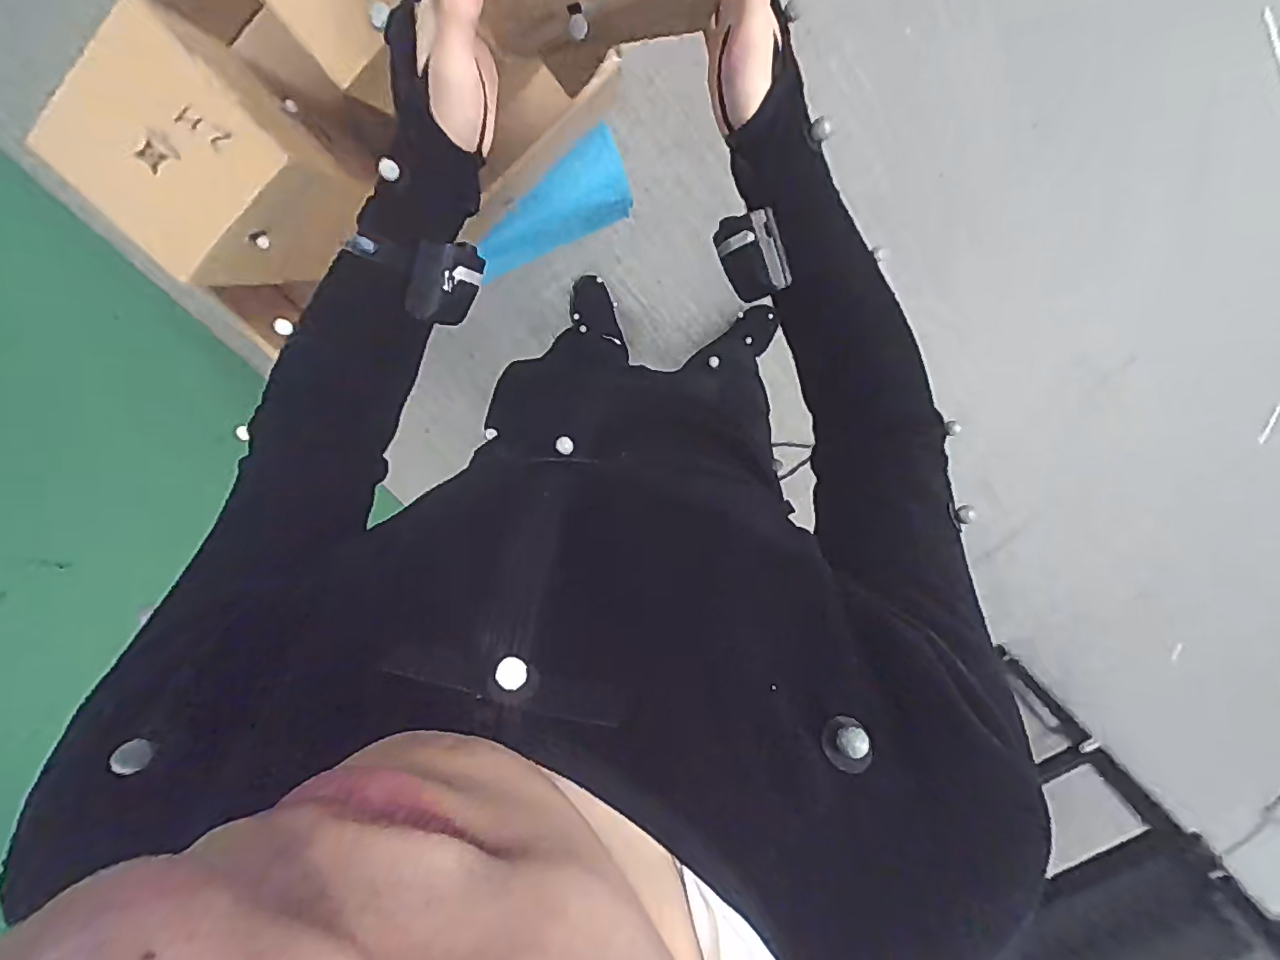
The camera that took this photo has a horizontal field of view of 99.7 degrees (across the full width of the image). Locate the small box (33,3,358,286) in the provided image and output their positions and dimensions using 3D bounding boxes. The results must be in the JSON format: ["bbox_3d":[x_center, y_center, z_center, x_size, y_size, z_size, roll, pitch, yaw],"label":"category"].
[{"bbox_3d":[-0.446,-0.329,0.578,0.179,0.176,0.168,-39,107,12],"label":"small box"}]

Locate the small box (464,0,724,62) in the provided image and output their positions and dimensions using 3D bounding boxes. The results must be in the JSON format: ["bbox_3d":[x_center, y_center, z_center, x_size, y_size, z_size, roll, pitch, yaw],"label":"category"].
[{"bbox_3d":[-0.031,-0.391,0.342,0.179,0.176,0.168,-5,117,3],"label":"small box"}]
